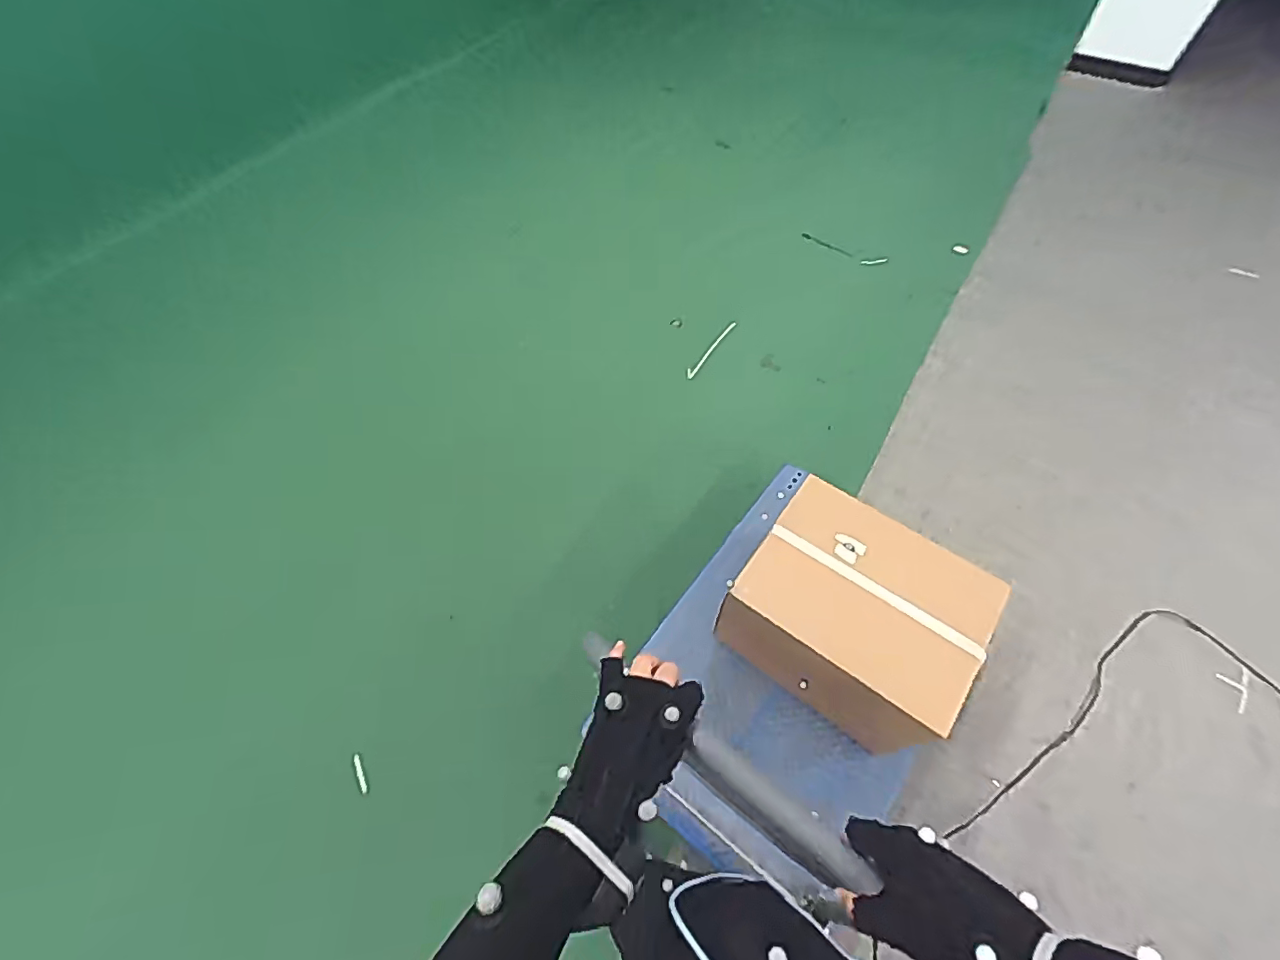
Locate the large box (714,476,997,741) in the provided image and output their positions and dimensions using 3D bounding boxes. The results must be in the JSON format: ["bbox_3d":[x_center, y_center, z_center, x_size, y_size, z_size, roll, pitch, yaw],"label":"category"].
[{"bbox_3d":[0.408,0.269,1.112,0.408,0.320,0.320,32,65,19],"label":"large box"}]
